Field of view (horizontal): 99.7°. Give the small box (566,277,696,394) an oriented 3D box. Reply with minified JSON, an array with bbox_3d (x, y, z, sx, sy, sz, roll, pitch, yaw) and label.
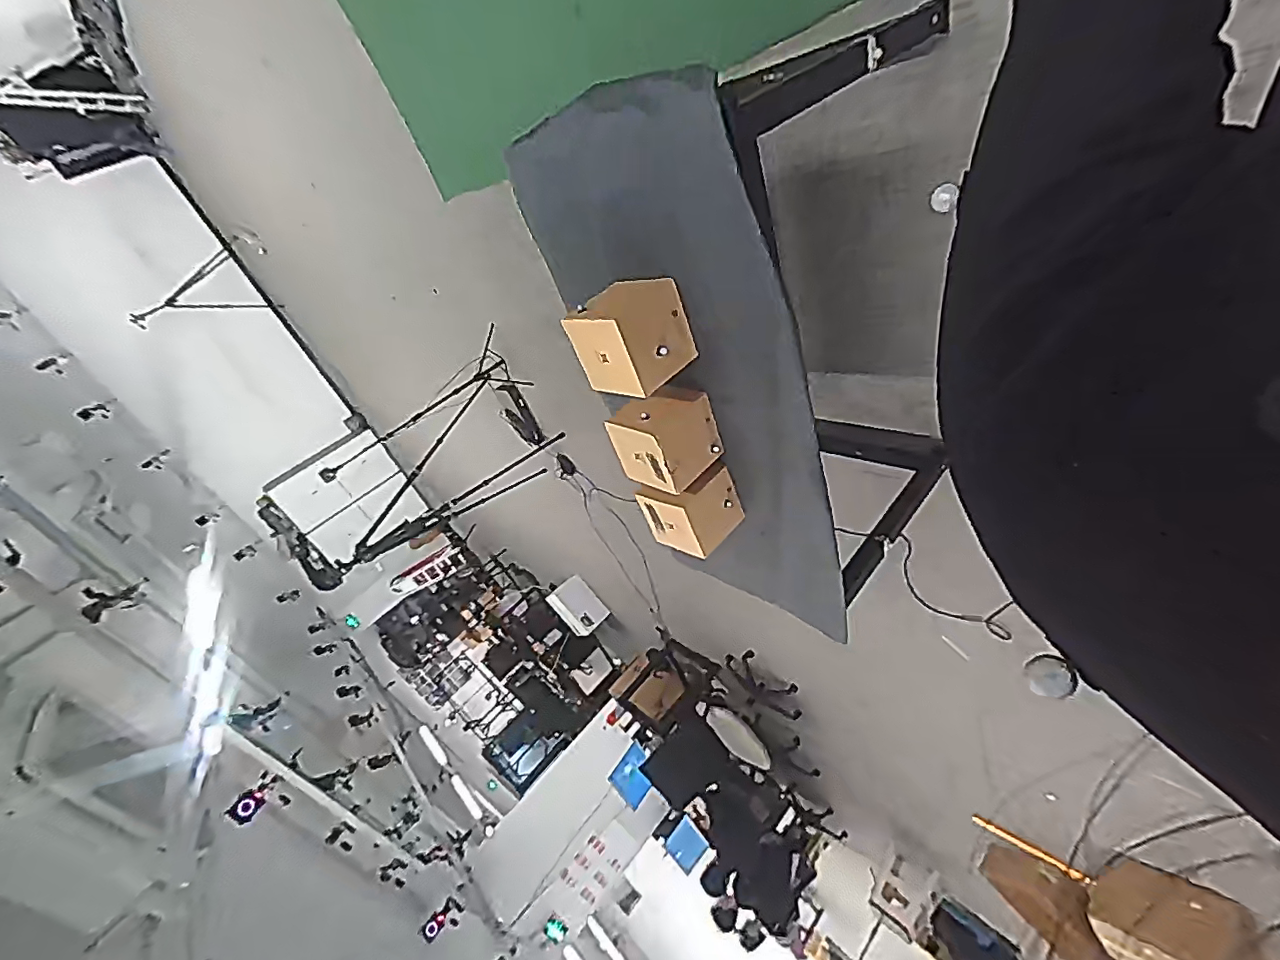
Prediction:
[{"bbox_3d":[-0.009,-0.293,1.086,0.179,0.176,0.168,18,142,47],"label":"small box"}]
